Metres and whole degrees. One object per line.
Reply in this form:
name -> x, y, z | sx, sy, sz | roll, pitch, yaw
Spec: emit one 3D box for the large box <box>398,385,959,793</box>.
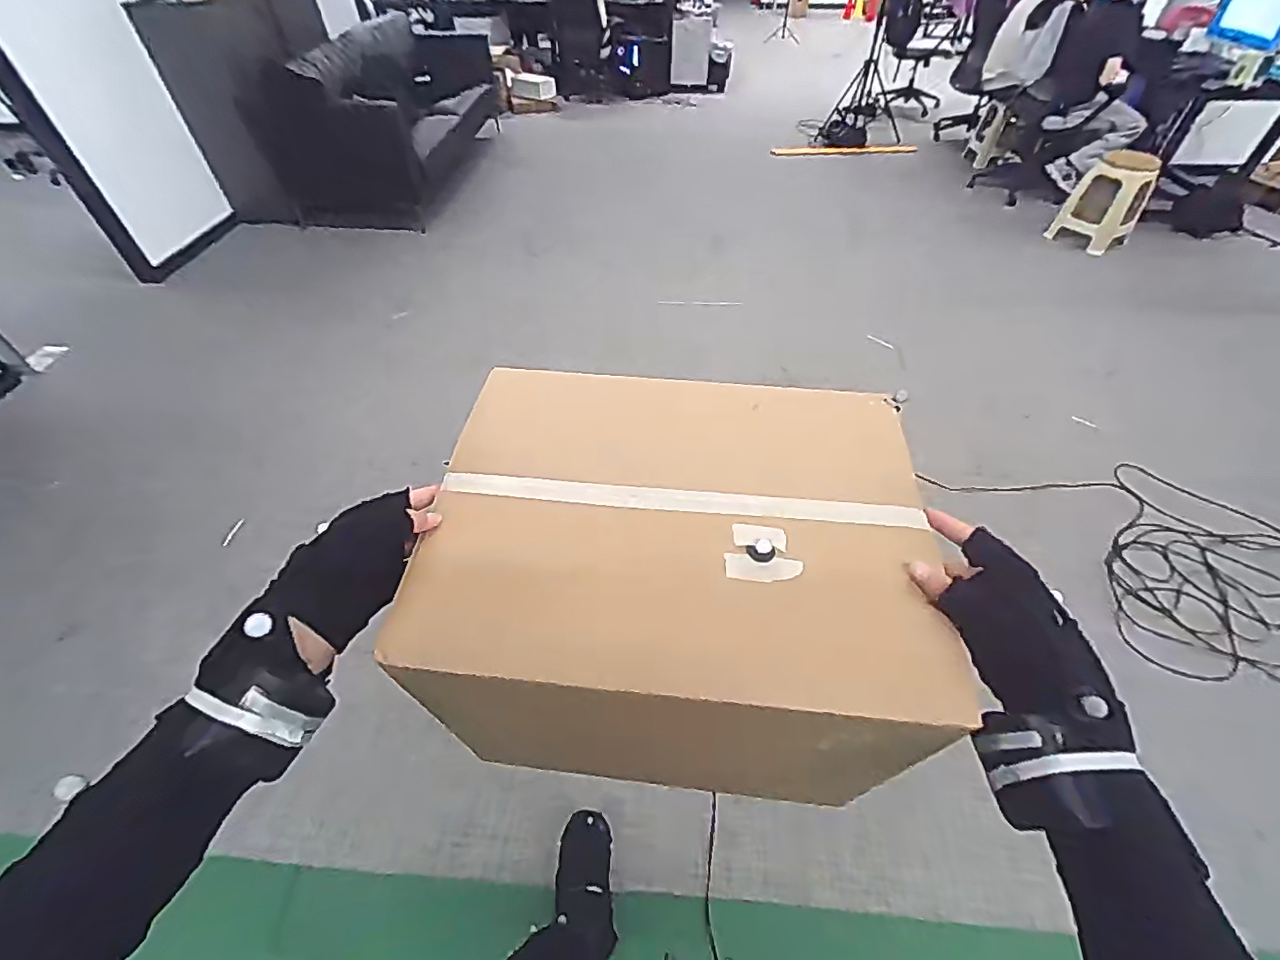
large box -> 0.034, 0.121, 0.584 | 0.408, 0.320, 0.320 | 4, 52, 4
